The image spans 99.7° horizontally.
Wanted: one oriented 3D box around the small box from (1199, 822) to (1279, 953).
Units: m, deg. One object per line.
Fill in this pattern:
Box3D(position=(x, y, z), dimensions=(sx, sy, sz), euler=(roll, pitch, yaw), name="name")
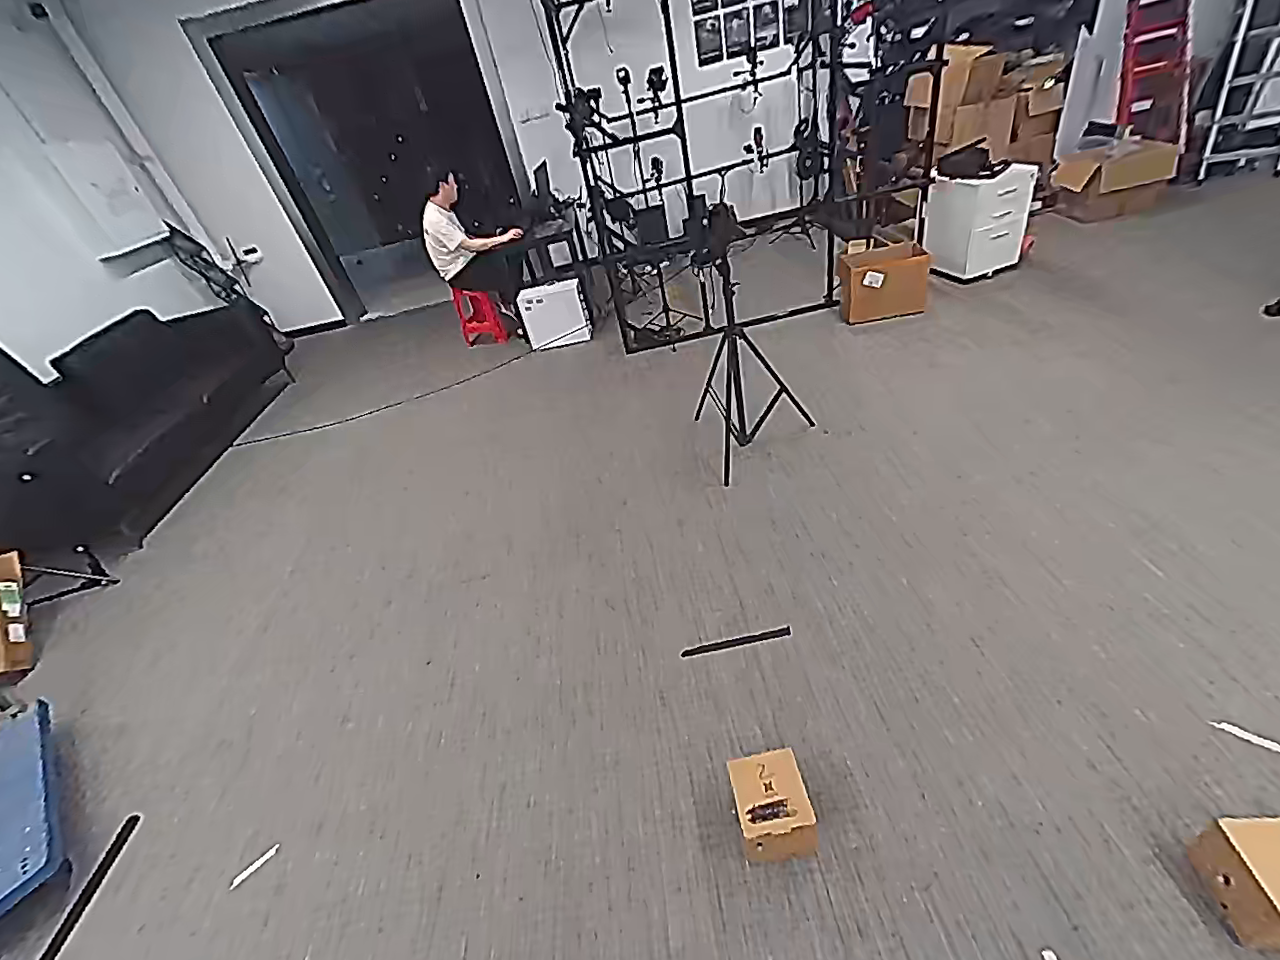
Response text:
Box3D(position=(1.221, 0.769, 1.018), dimensions=(0.179, 0.176, 0.168), euler=(-6, 38, 11), name="small box")
